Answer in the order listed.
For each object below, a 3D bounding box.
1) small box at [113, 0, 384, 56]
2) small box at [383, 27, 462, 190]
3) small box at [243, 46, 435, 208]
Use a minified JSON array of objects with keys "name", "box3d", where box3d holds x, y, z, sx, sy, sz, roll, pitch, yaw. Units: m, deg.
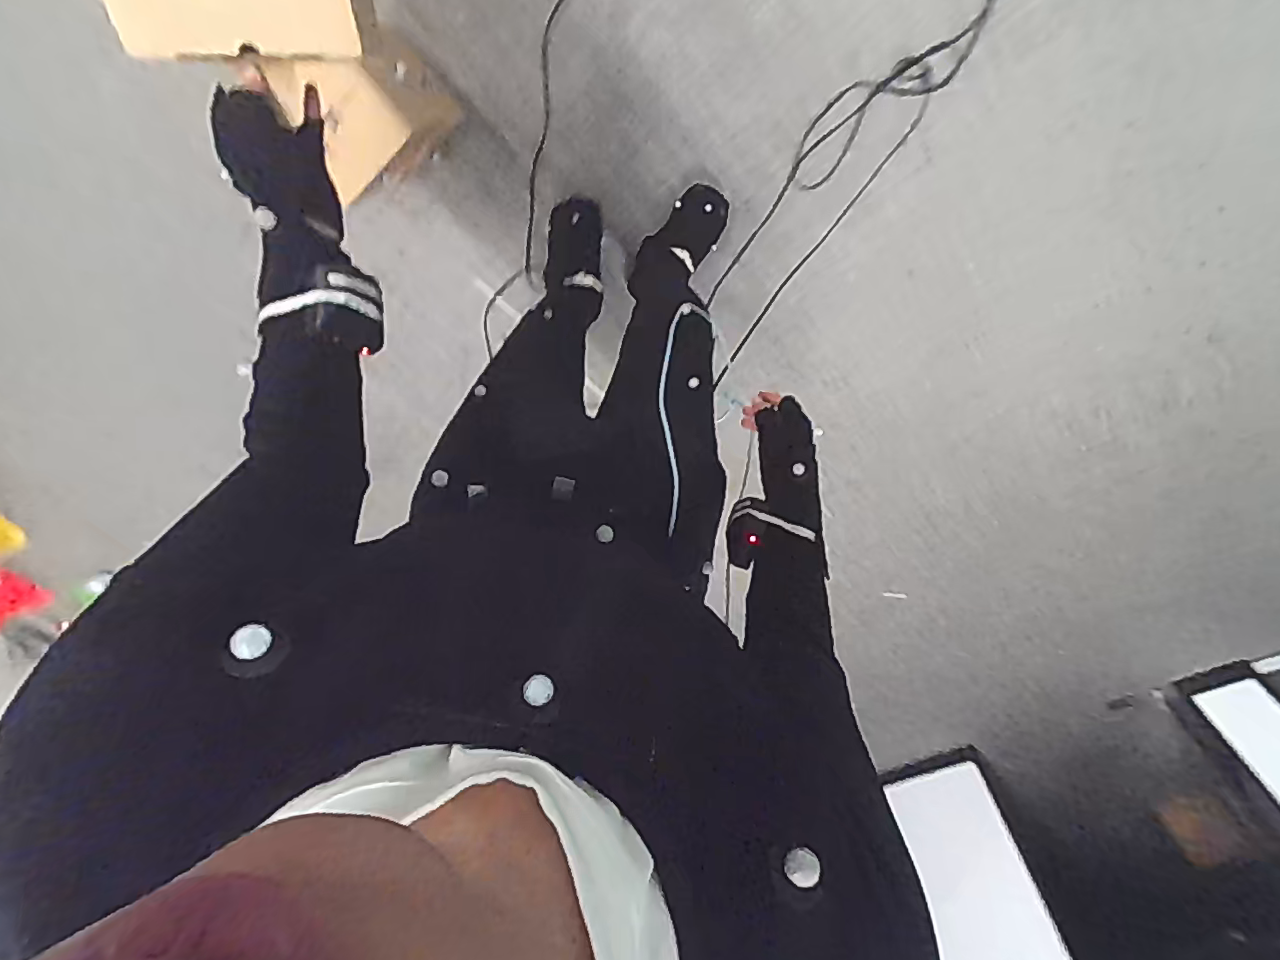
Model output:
[{"name":"small box","box3d":[-0.313,-0.444,0.422,0.168,0.176,0.179,-10,130,-12]},{"name":"small box","box3d":[-0.446,-0.664,0.963,0.168,0.176,0.179,-32,124,22]},{"name":"small box","box3d":[-0.446,-0.562,0.833,0.179,0.176,0.168,-31,124,22]}]
